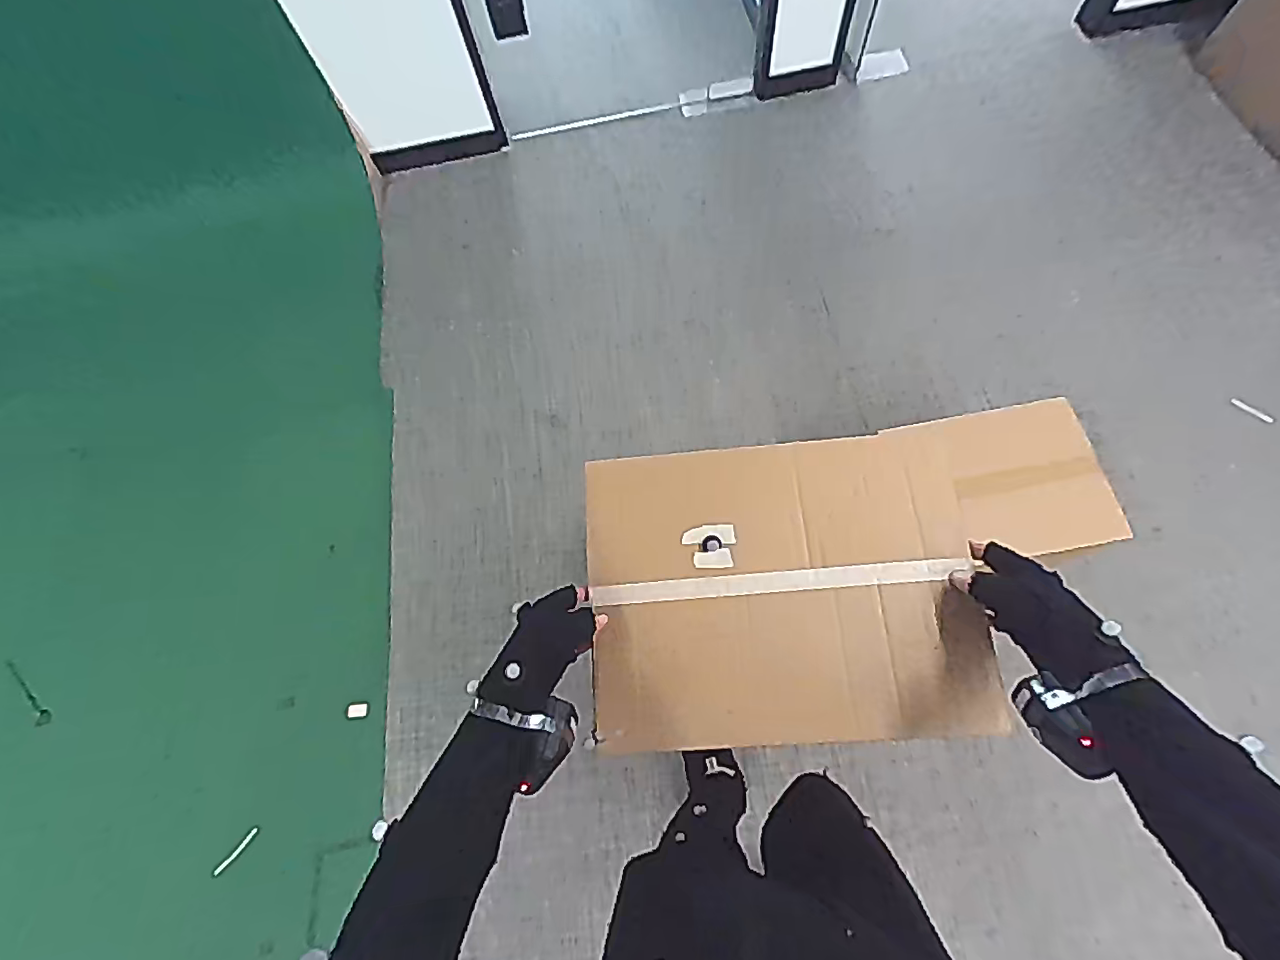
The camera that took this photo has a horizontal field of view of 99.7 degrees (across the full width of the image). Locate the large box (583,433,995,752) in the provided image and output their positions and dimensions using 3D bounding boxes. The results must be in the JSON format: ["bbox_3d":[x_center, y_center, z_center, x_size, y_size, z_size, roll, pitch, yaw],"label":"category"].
[{"bbox_3d":[0.157,0.152,0.722,0.408,0.320,0.320,-5,73,5],"label":"large box"}]
